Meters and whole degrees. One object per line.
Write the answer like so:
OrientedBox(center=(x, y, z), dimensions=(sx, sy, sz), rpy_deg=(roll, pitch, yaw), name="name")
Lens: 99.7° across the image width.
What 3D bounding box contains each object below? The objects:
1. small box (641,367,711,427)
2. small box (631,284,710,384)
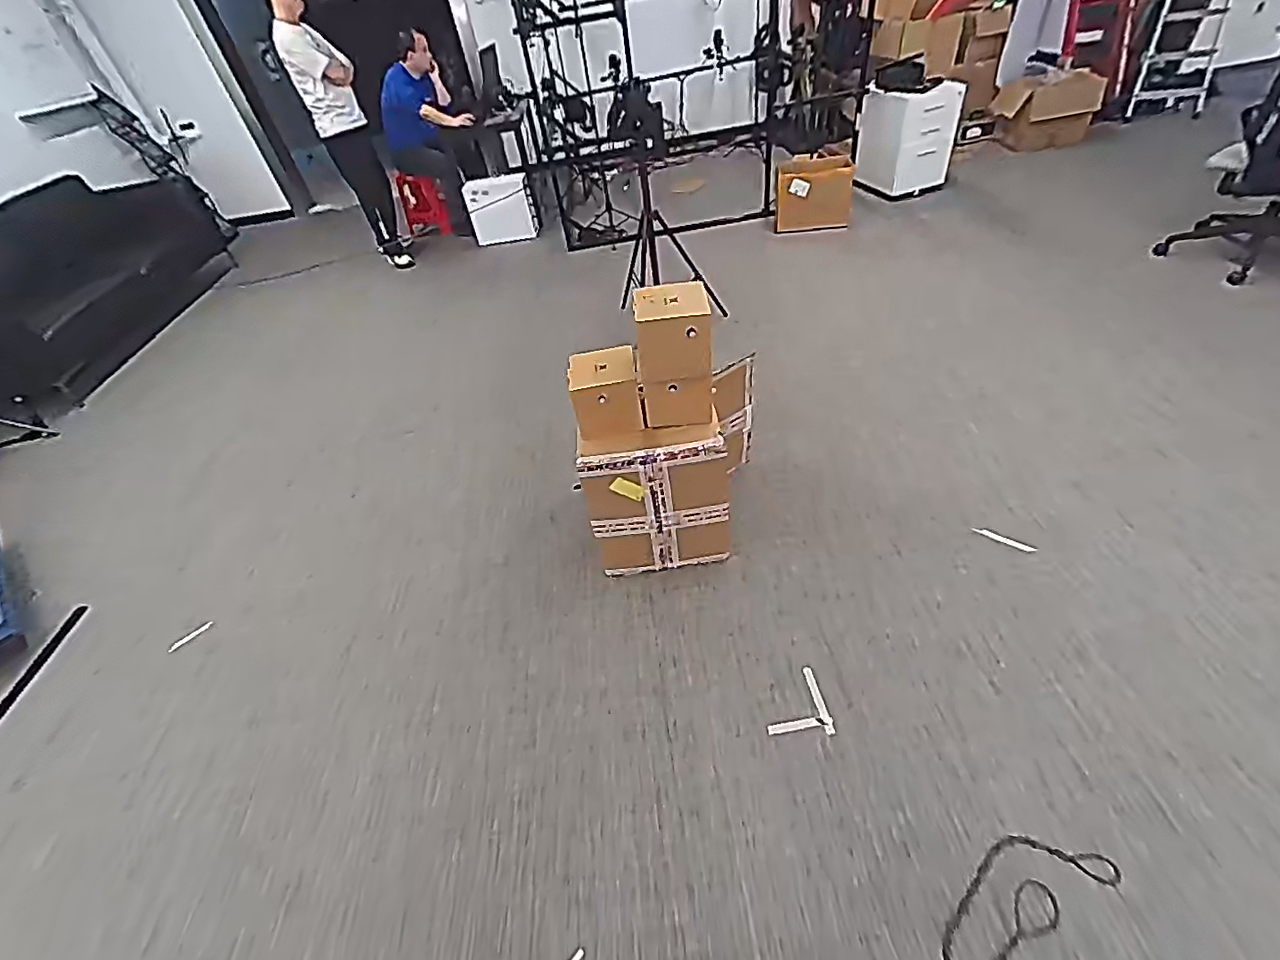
OrientedBox(center=(0.095, -0.256, 1.452), dimensions=(0.179, 0.176, 0.168), rpy_deg=(-4, 45, 5), name="small box")
OrientedBox(center=(0.074, -0.355, 1.320), dimensions=(0.179, 0.176, 0.168), rpy_deg=(-6, 44, 3), name="small box")
